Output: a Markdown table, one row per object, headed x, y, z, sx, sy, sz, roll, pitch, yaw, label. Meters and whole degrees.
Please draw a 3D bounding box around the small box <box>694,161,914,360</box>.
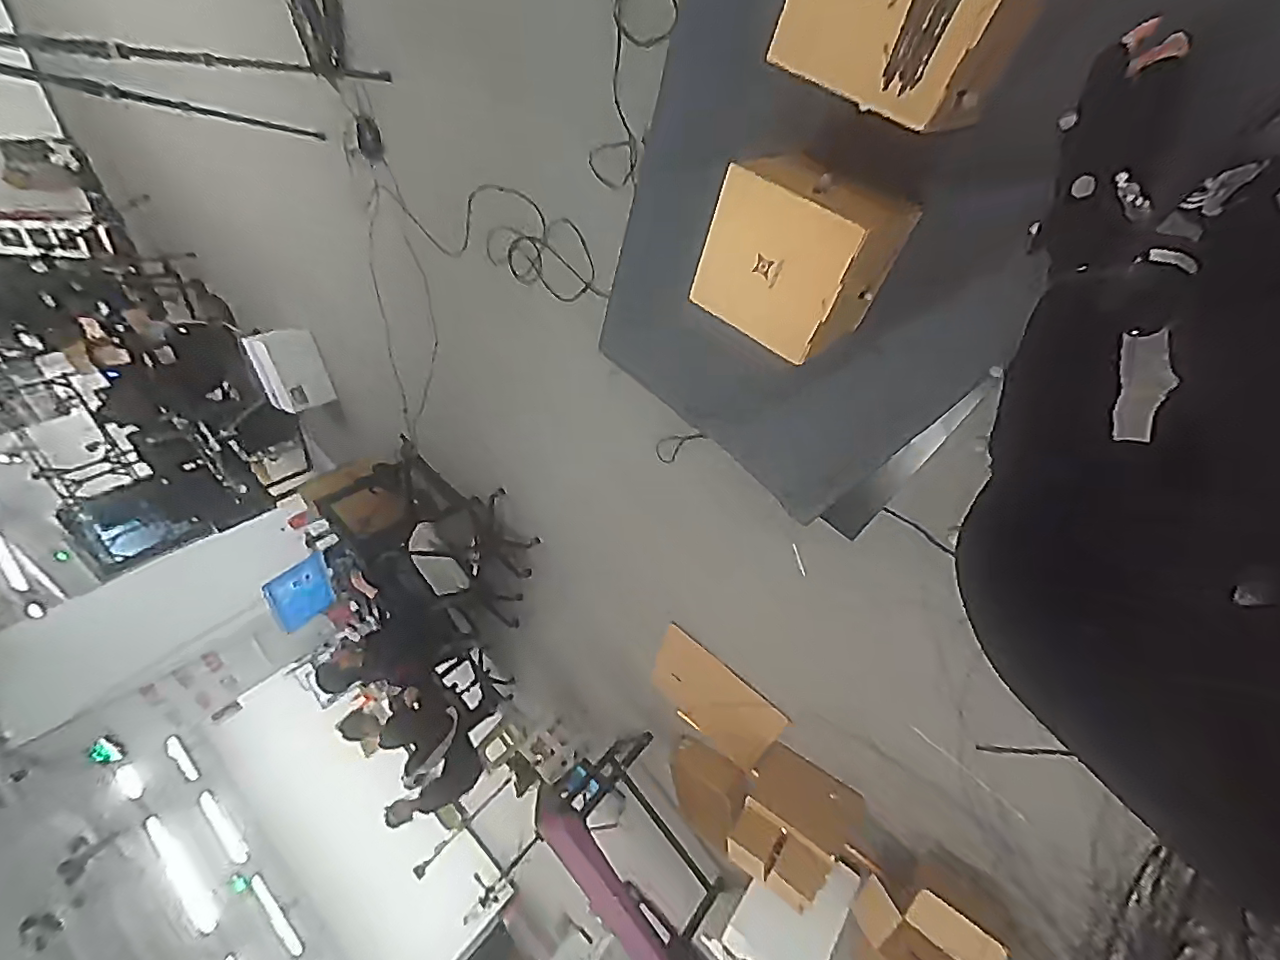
| x | y | z | sx | sy | sz | roll | pitch | yaw | label |
| --- | --- | --- | --- | --- | --- | --- | --- | --- | --- |
| 0.203 | -0.283 | 0.681 | 0.179 | 0.176 | 0.168 | 38 | 138 | 20 | small box |
